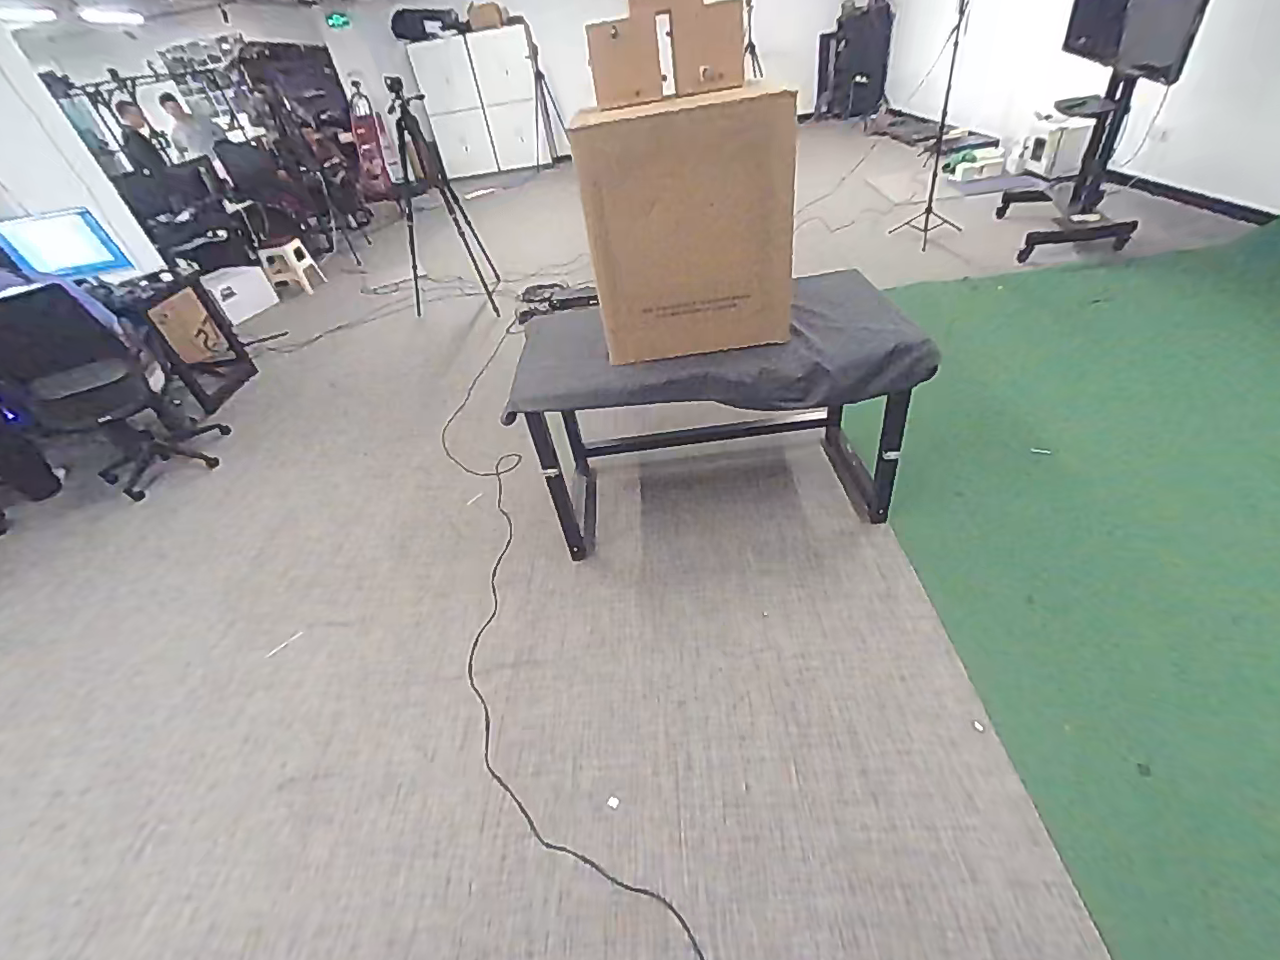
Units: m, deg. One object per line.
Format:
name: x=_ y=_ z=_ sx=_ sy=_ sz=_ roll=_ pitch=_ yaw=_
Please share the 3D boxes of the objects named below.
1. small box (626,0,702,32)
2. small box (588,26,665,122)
small box: x=0.052 y=-1.172 z=1.276 sx=0.179 sy=0.176 sz=0.168 roll=-8 pitch=36 yaw=3
small box: x=-0.030 y=-1.022 z=1.371 sx=0.168 sy=0.176 sz=0.179 roll=-8 pitch=36 yaw=5
